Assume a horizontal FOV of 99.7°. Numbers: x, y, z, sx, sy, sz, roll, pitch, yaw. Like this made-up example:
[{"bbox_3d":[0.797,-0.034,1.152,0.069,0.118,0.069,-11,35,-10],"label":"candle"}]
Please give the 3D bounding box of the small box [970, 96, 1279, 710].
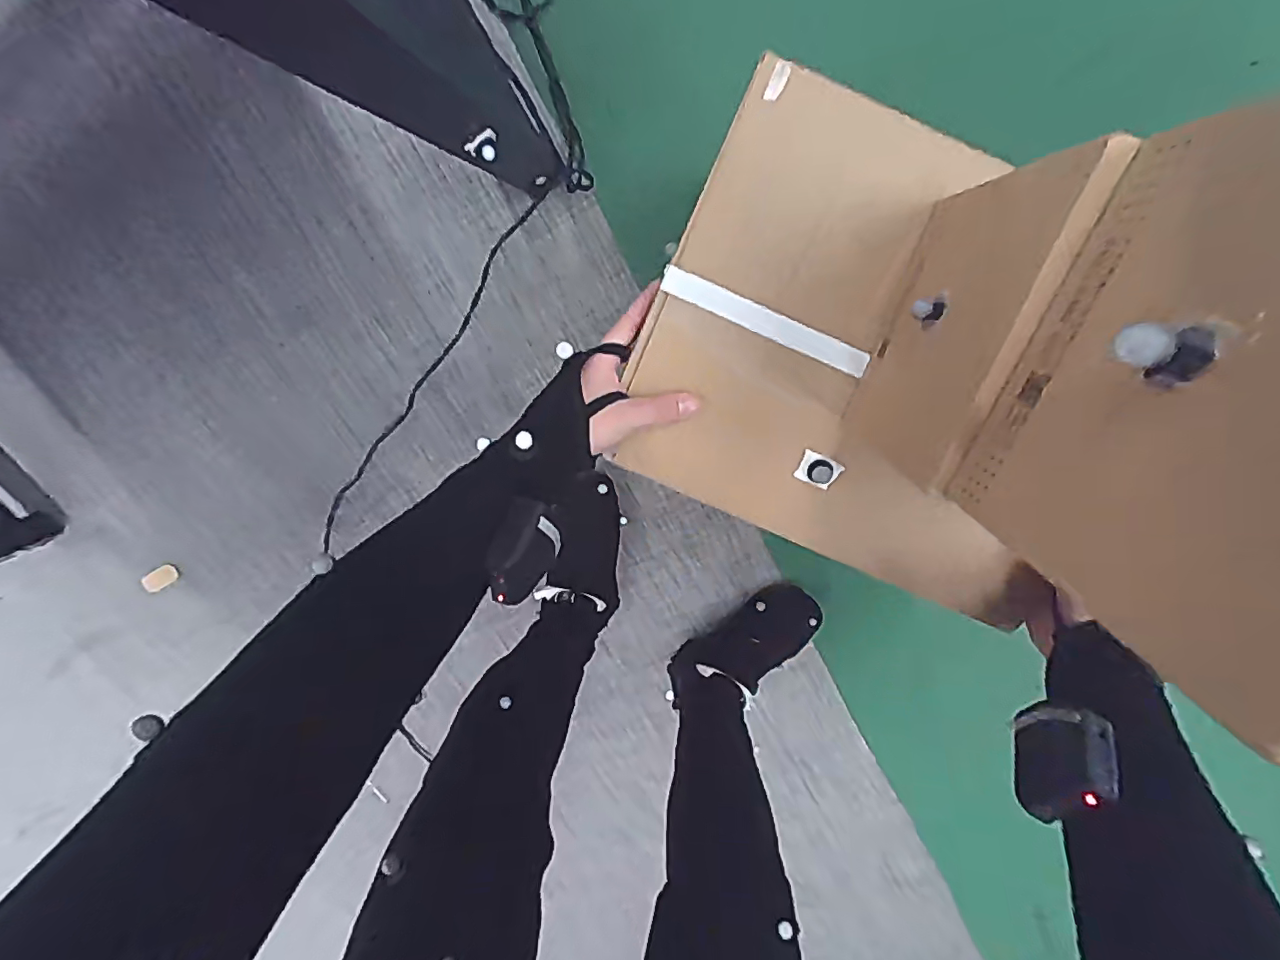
[{"bbox_3d":[0.251,-0.019,0.170,0.179,0.176,0.168,18,110,1],"label":"small box"}]
